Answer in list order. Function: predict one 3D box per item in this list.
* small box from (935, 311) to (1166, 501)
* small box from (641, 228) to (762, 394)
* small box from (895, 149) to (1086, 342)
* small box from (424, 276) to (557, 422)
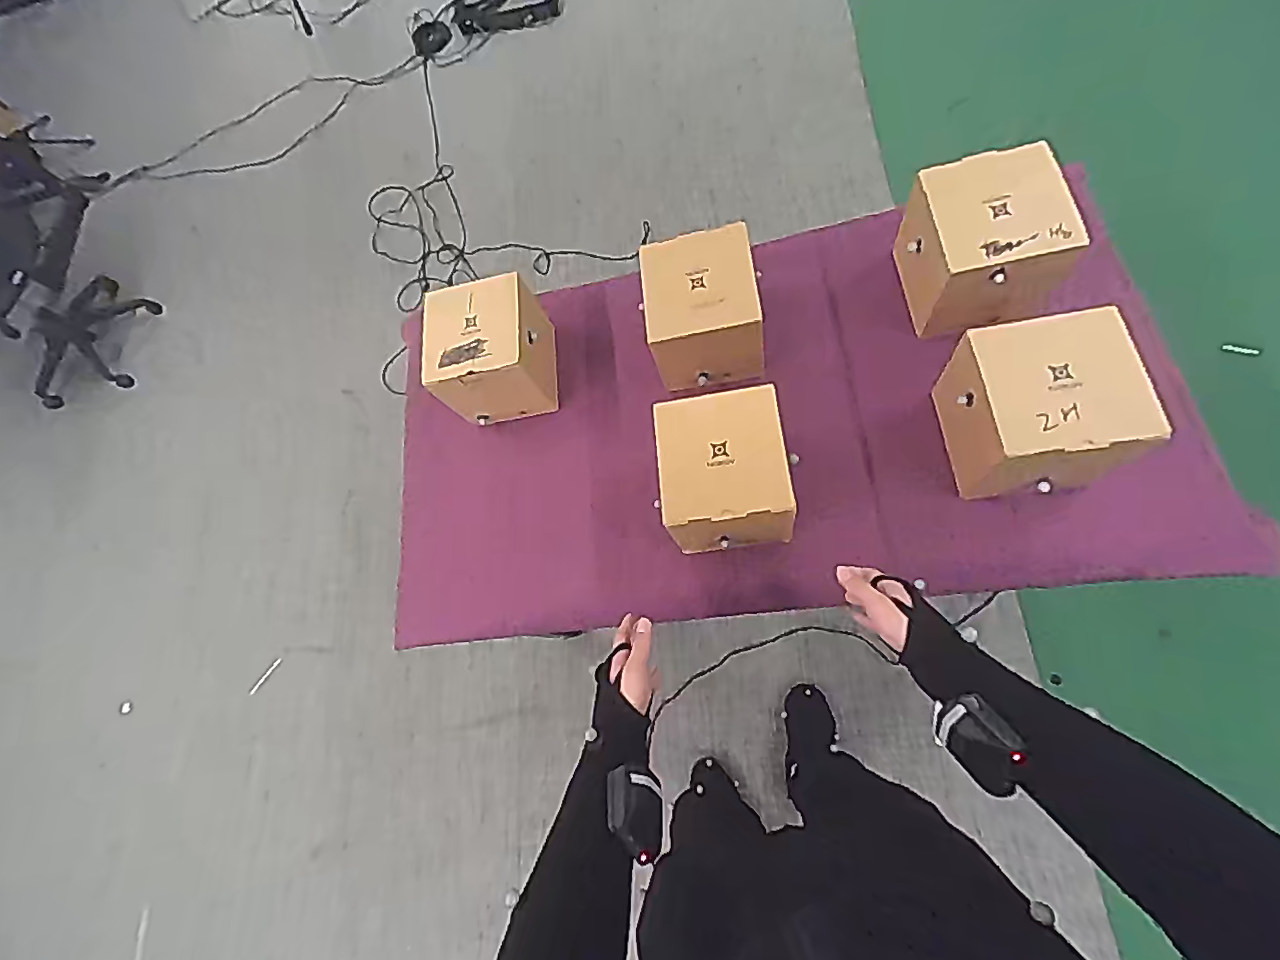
[{"bbox_3d":[0.506,-0.086,0.703,0.168,0.176,0.179,-7,69,12],"label":"small box"},{"bbox_3d":[0.101,-0.261,0.865,0.168,0.176,0.179,-8,71,12],"label":"small box"},{"bbox_3d":[0.490,-0.332,0.792,0.168,0.176,0.179,-9,70,11],"label":"small box"},{"bbox_3d":[-0.248,-0.212,0.930,0.168,0.176,0.179,-9,70,10],"label":"small box"}]
